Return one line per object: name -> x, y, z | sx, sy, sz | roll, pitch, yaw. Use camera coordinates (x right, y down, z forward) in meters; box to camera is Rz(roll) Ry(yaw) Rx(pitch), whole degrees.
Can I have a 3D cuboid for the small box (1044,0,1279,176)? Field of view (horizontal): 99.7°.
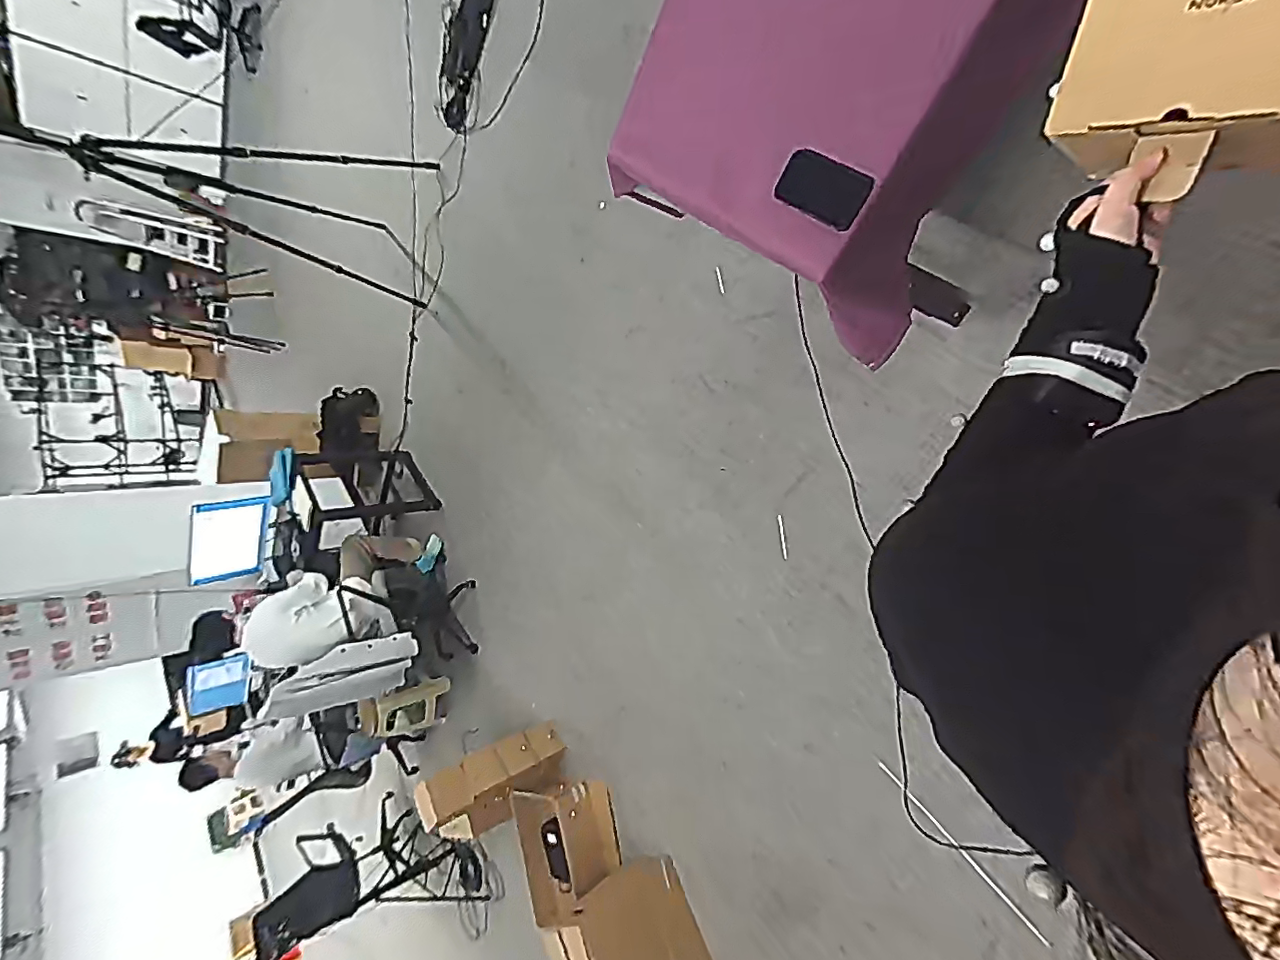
small box -> 0.463, -0.356, 0.424 | 0.168, 0.176, 0.179 | 29, 120, 43
